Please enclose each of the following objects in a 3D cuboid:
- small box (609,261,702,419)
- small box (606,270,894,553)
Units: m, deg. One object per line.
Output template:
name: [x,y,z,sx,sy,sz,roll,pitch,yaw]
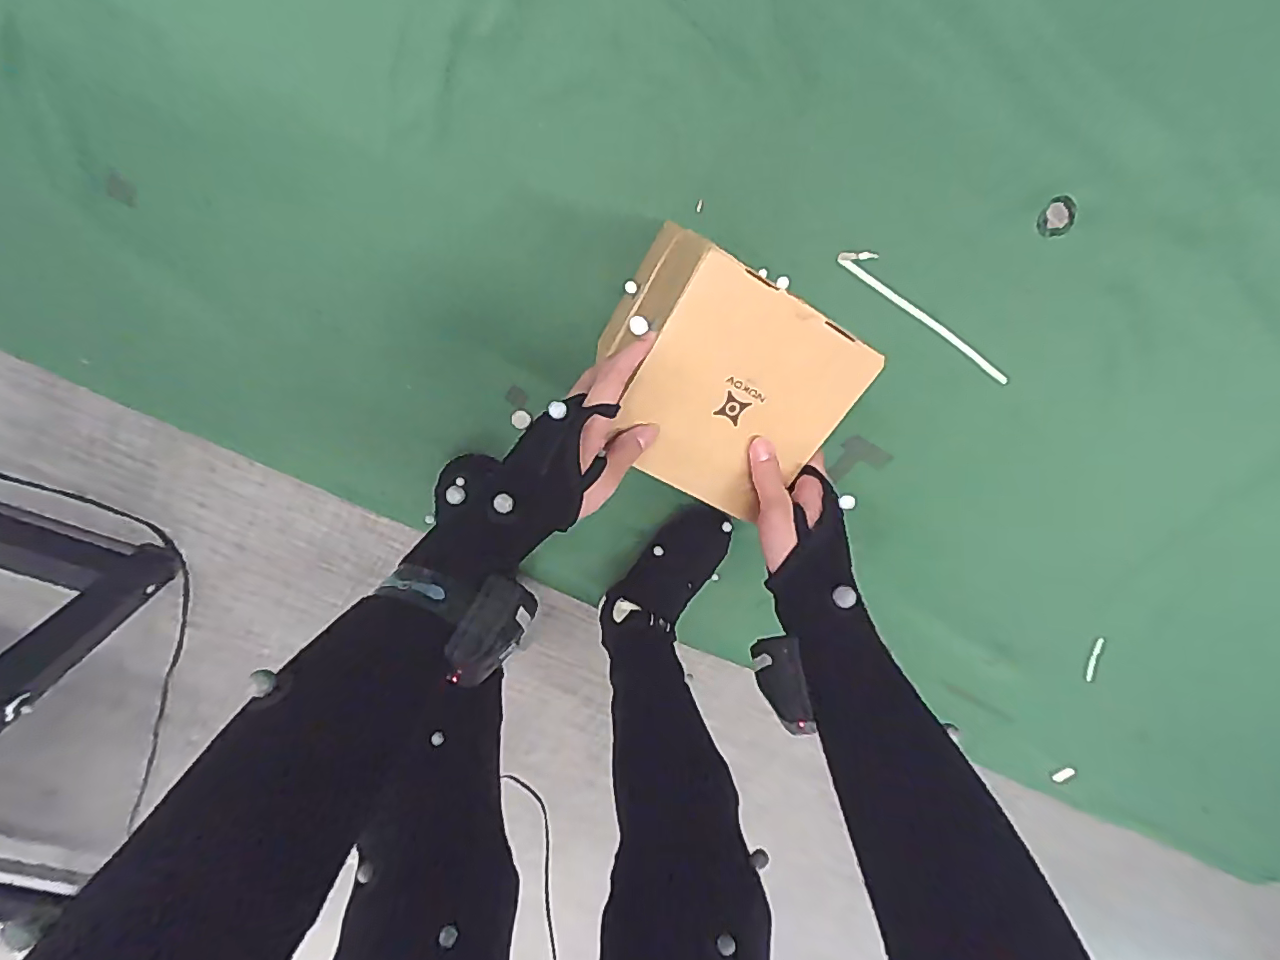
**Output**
small box: [0.075,-0.140,0.644,0.168,0.176,0.179,26,113,-12]
small box: [0.083,-0.071,0.496,0.168,0.176,0.179,26,111,-13]
